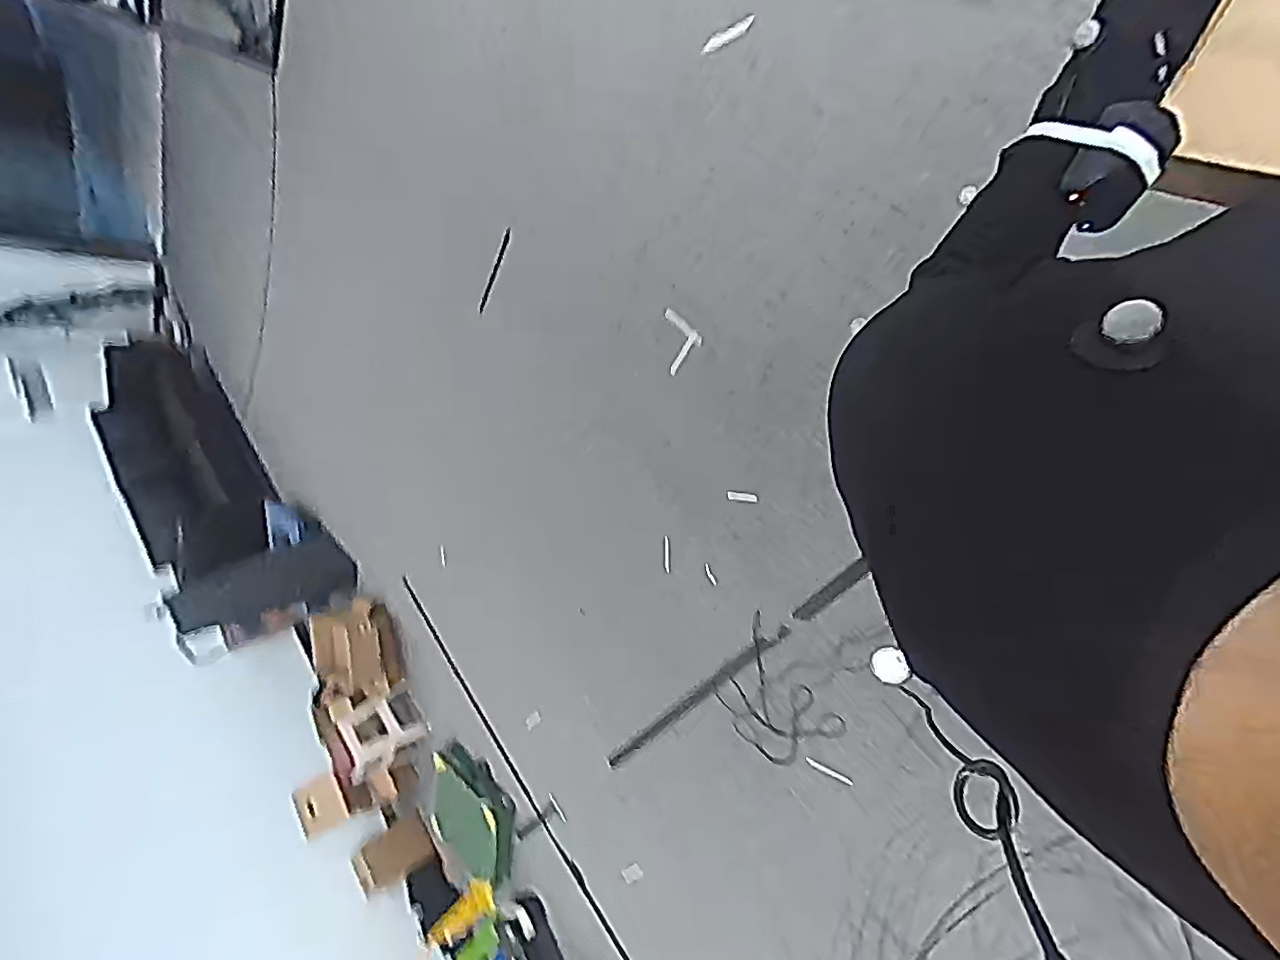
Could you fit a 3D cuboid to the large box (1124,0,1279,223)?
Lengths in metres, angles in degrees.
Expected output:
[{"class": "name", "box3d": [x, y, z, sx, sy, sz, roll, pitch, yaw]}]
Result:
[{"class": "large box", "box3d": [0.643, -0.324, 0.351, 0.408, 0.320, 0.320, 33, 127, 27]}]
